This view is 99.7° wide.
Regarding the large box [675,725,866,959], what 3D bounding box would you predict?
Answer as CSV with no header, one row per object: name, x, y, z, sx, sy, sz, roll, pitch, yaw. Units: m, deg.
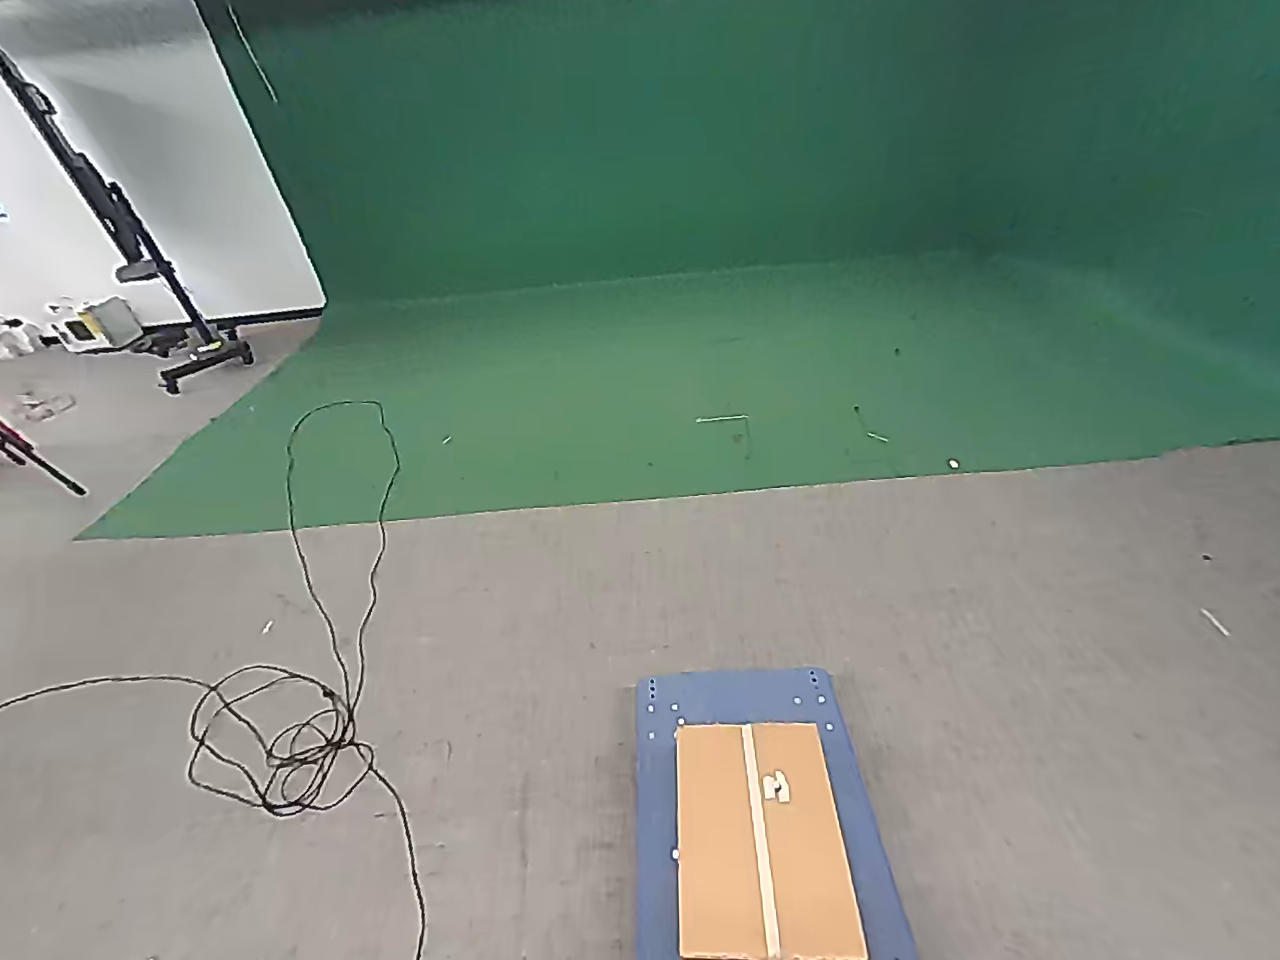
large box,0.243,0.794,1.146,0.320,0.320,0.408,-3,37,5
